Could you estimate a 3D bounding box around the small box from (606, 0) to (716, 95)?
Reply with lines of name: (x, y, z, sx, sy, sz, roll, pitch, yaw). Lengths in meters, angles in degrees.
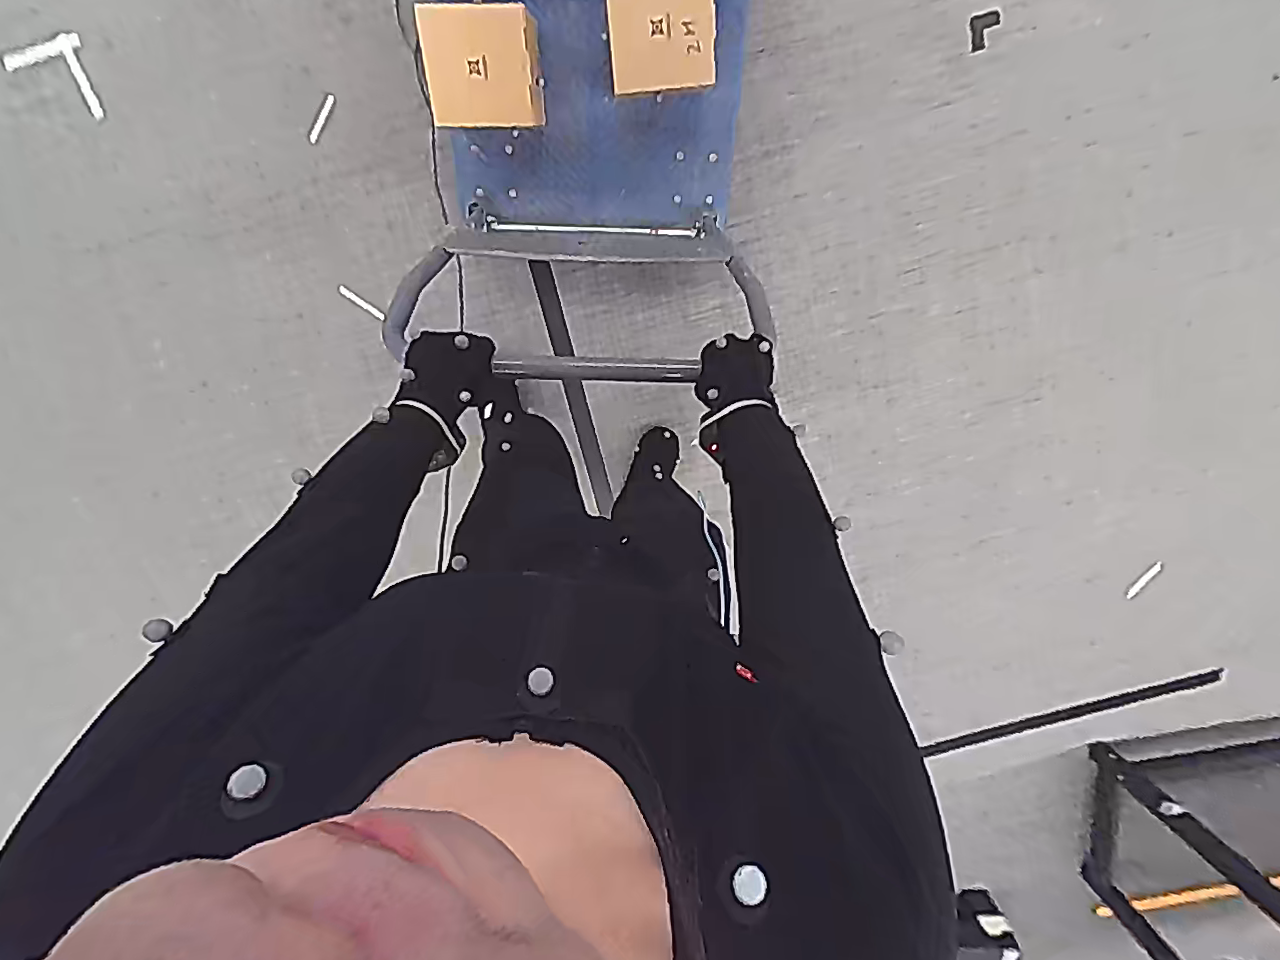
small box: (0.035, -0.781, 0.941, 0.179, 0.176, 0.168, -5, 123, 2)

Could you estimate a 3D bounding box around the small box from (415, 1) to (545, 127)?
small box: (-0.272, -0.731, 0.965, 0.179, 0.176, 0.168, -3, 123, -2)
